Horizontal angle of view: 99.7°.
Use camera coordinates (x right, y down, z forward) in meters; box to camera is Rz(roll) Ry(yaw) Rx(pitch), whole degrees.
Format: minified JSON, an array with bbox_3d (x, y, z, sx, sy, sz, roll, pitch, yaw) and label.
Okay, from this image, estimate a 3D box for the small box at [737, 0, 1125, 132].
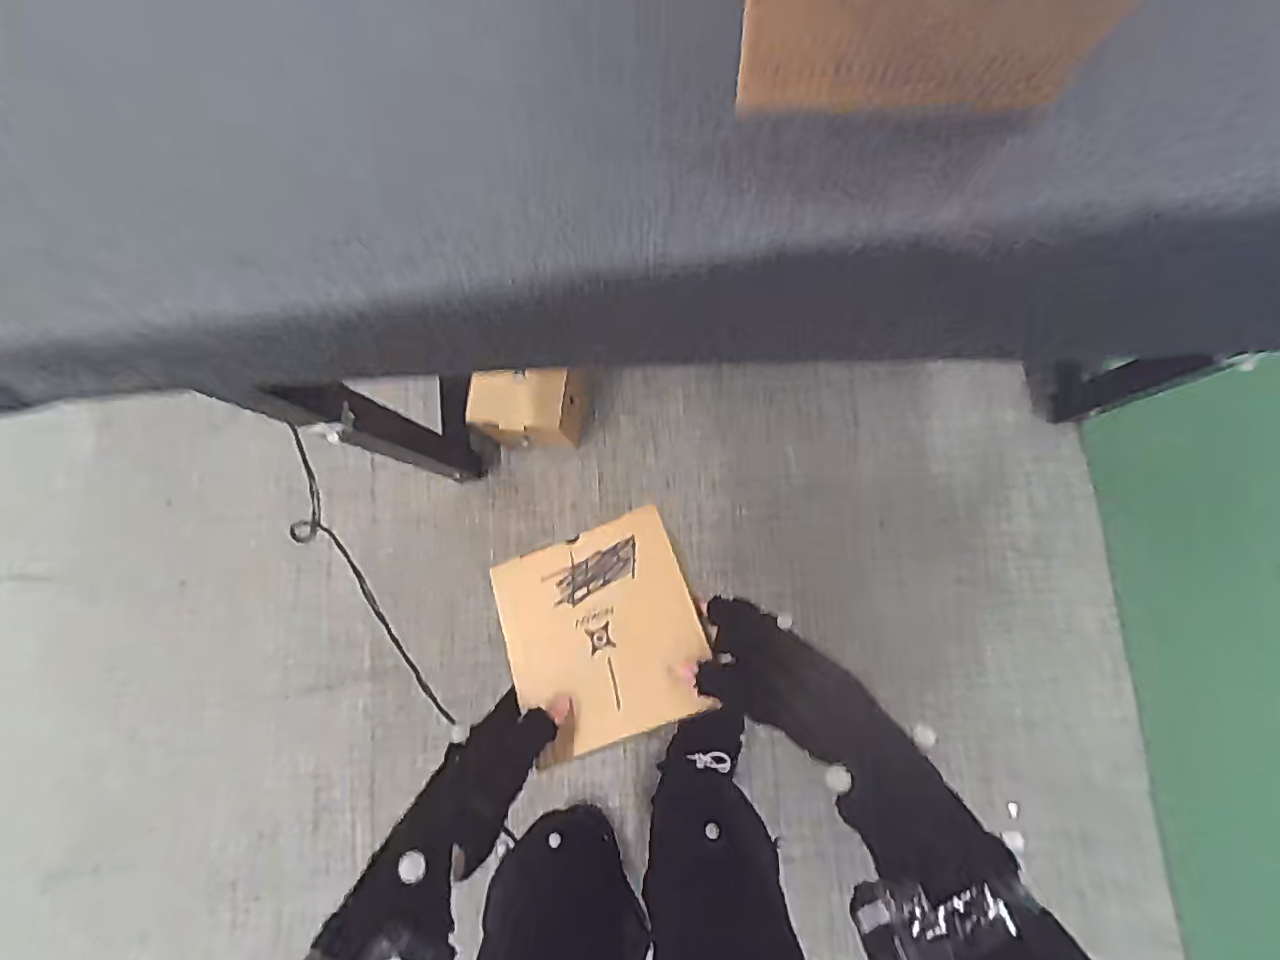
[{"bbox_3d":[0.148,-0.304,0.263,0.179,0.176,0.168,4,80,5],"label":"small box"}]
